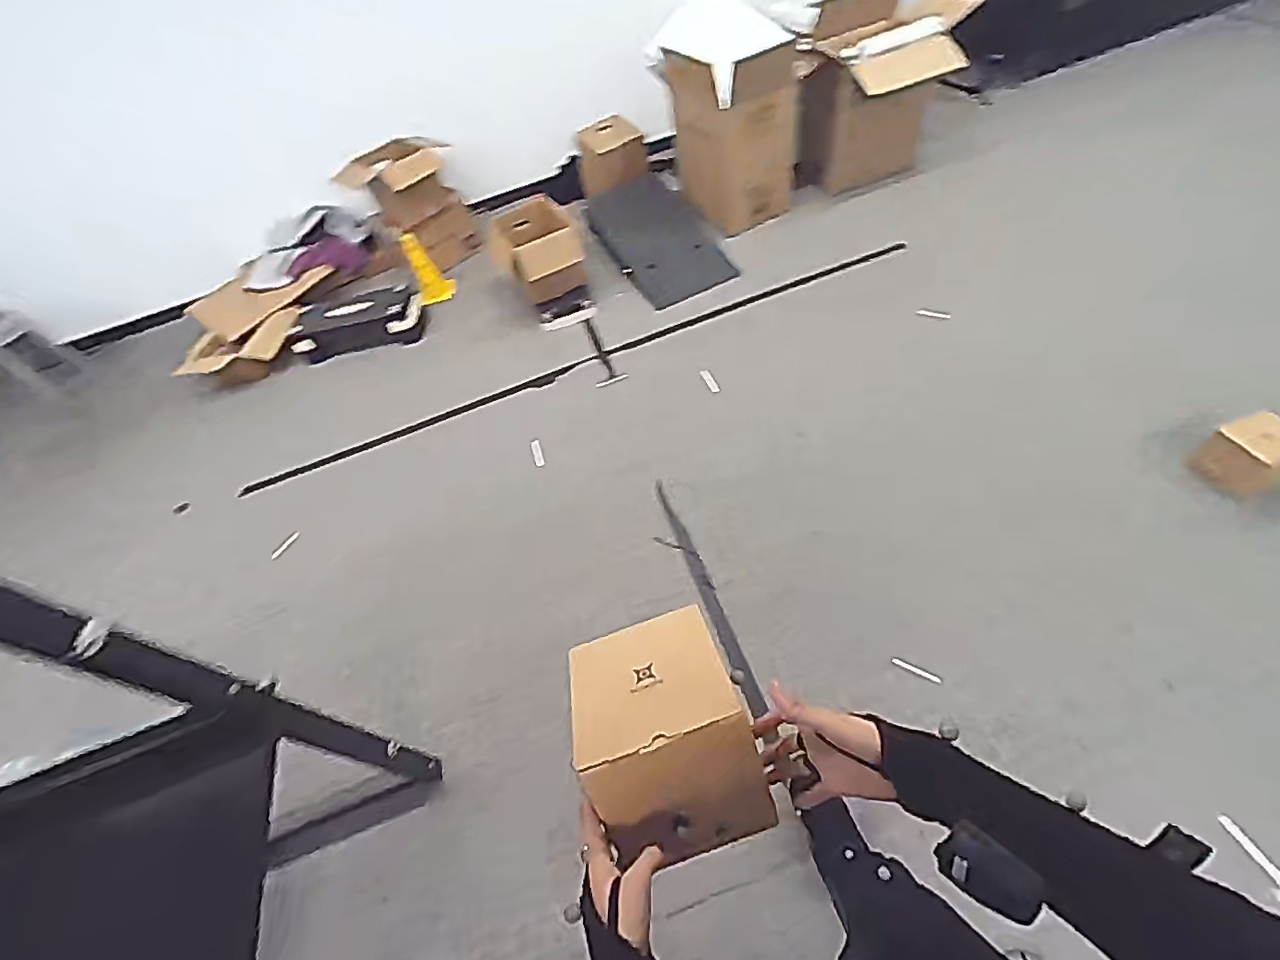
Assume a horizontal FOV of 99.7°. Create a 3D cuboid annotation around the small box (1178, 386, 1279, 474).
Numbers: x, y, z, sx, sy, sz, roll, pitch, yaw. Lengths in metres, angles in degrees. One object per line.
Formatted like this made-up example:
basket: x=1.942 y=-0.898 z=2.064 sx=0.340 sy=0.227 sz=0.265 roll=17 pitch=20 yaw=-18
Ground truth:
small box: x=1.787 y=-0.146 z=1.610 sx=0.179 sy=0.176 sz=0.168 roll=-19 pitch=51 yaw=-3
